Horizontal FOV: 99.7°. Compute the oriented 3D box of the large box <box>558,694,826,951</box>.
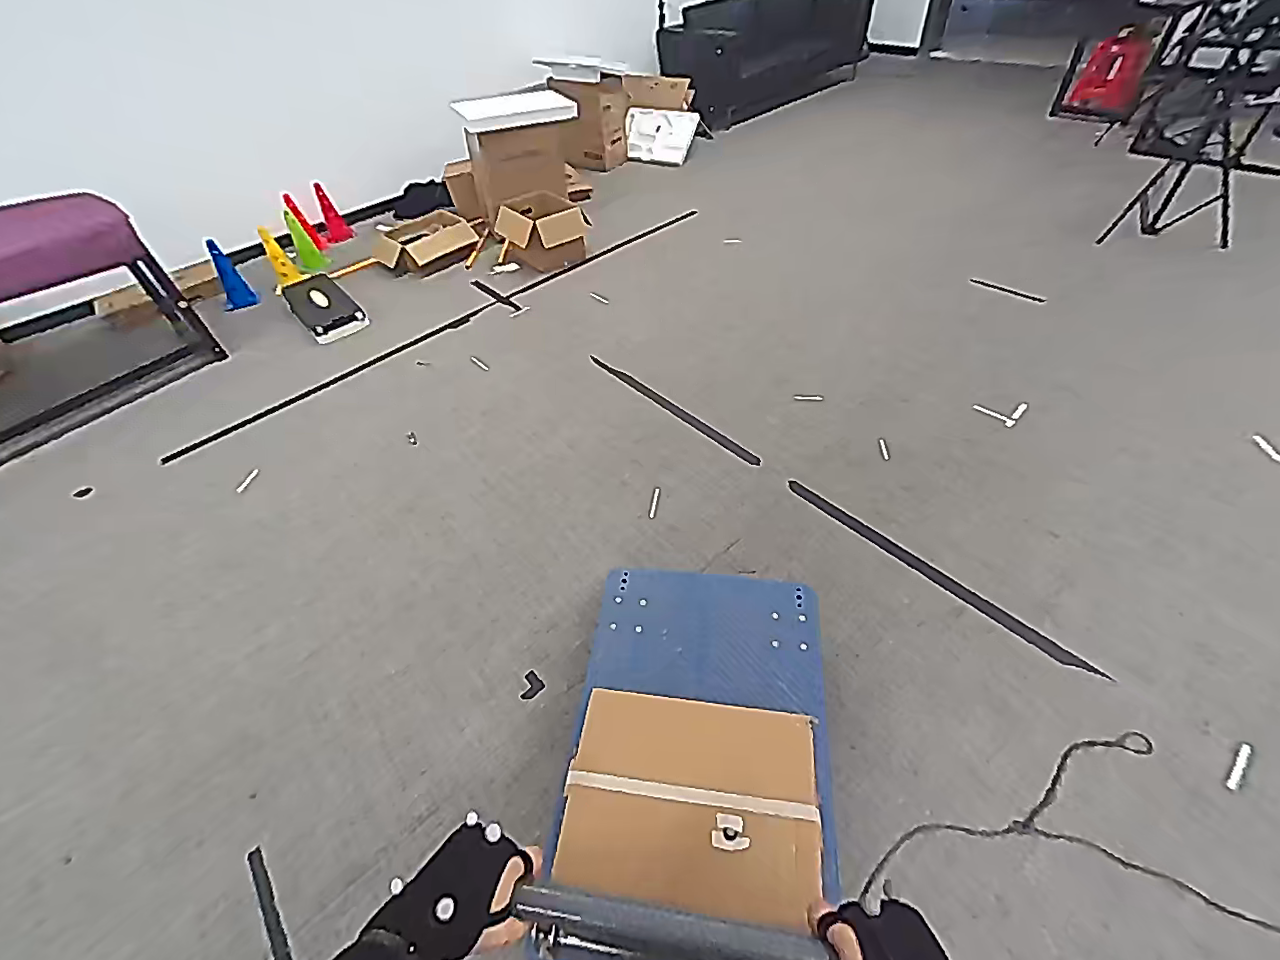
[{"bbox_3d":[0.096,0.627,0.998,0.408,0.320,0.320,4,47,8],"label":"large box"}]
